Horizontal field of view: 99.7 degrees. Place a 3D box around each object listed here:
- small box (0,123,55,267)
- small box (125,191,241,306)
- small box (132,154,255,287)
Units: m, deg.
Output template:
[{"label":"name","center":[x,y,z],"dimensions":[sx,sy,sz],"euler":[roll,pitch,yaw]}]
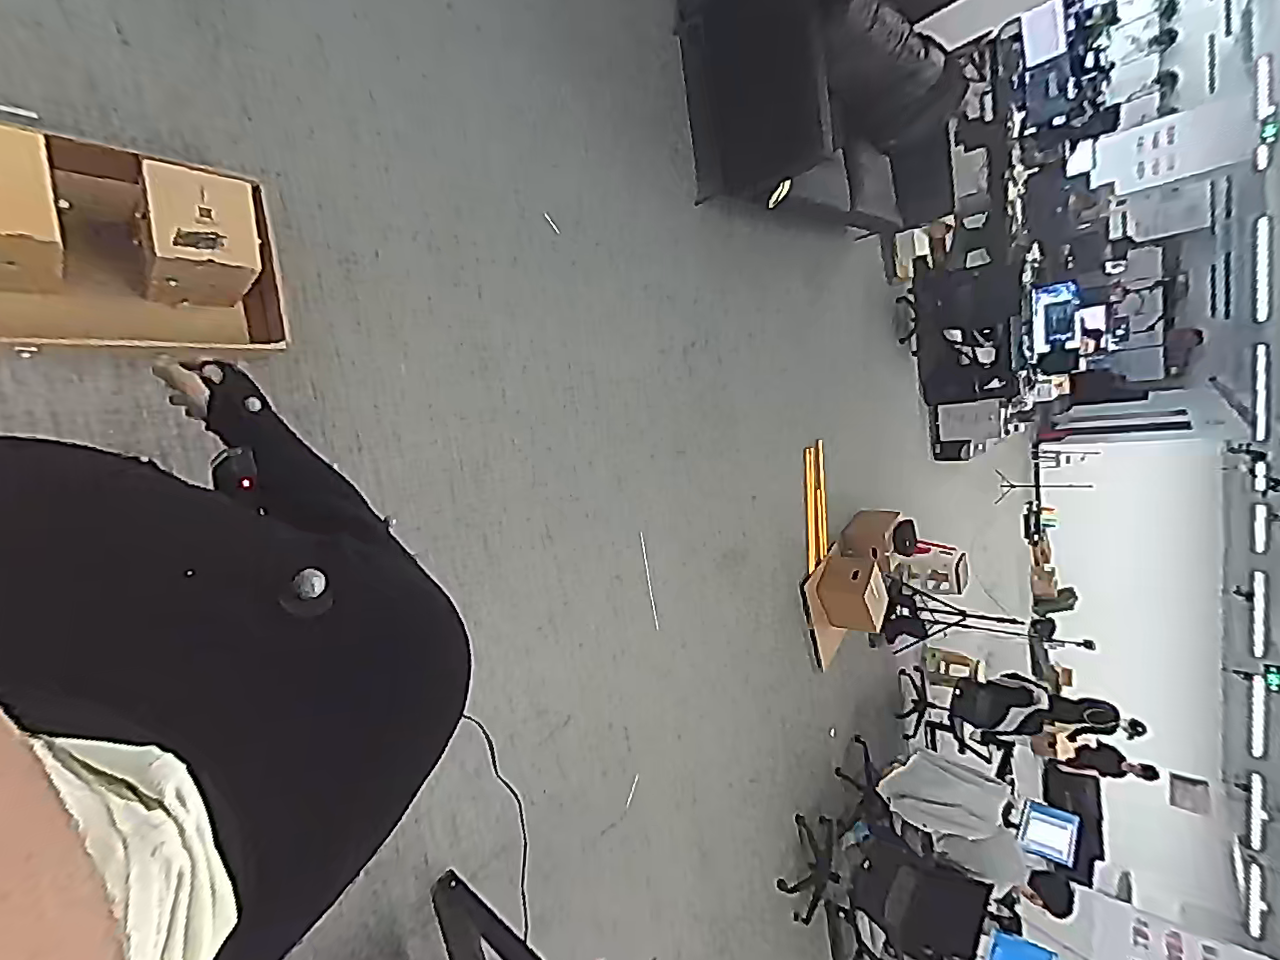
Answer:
[{"label":"small box","center":[-1.085,-0.468,0.875],"dimensions":[0.168,0.176,0.179],"euler":[-11,96,-47]},{"label":"small box","center":[-1.011,-0.500,1.194],"dimensions":[0.168,0.176,0.179],"euler":[-11,98,-45]},{"label":"small box","center":[-0.892,-0.502,1.080],"dimensions":[0.168,0.176,0.179],"euler":[-9,94,-45]}]
